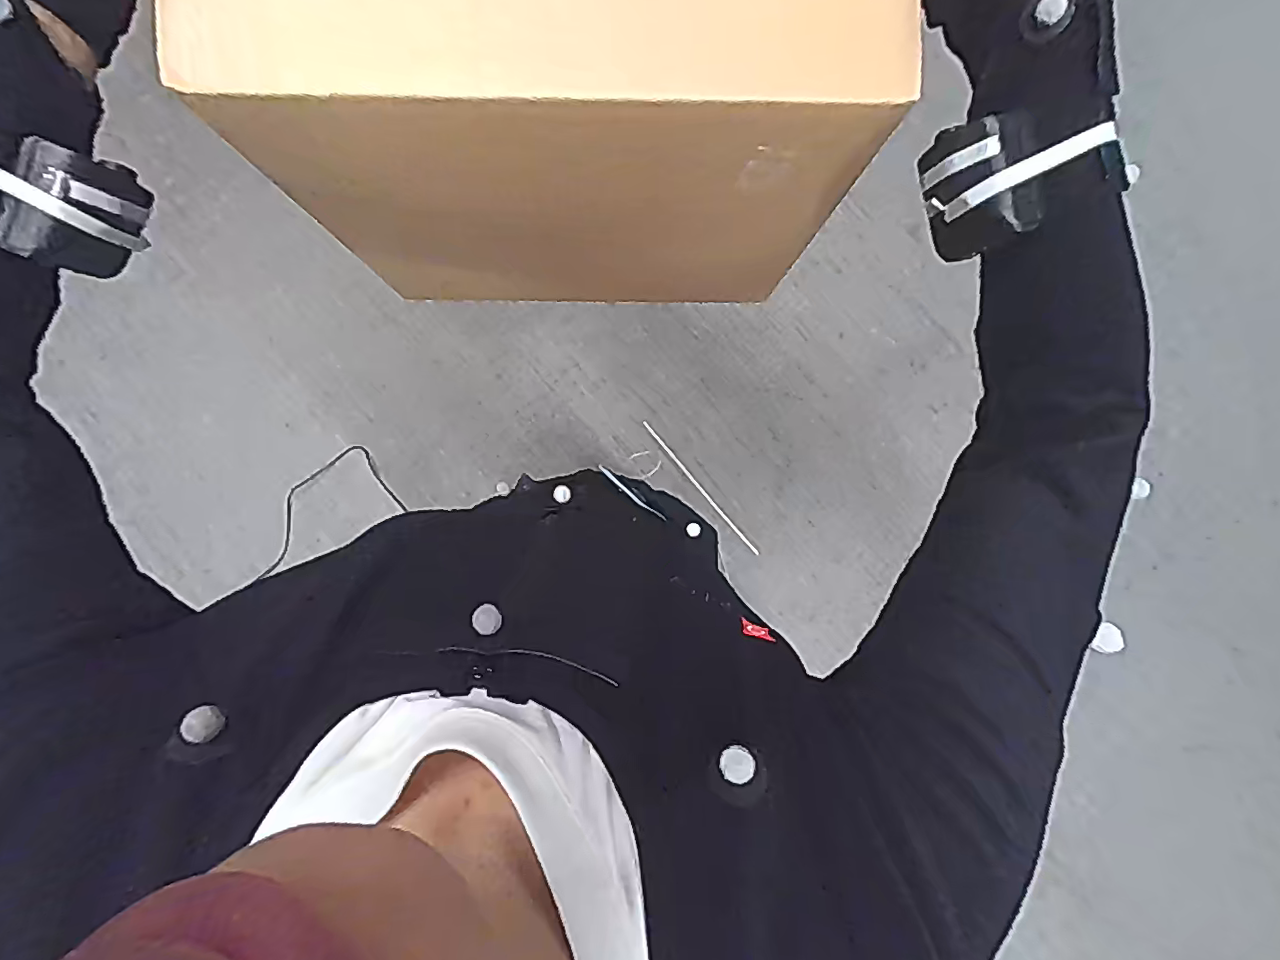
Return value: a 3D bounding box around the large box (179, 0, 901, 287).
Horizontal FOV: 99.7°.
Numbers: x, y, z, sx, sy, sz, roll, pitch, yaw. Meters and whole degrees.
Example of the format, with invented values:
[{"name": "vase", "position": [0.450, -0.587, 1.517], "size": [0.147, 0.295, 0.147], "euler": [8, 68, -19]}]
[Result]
[{"name": "large box", "position": [-0.061, -0.370, 0.451], "size": [0.408, 0.320, 0.320], "euler": [-1, 89, -3]}]
